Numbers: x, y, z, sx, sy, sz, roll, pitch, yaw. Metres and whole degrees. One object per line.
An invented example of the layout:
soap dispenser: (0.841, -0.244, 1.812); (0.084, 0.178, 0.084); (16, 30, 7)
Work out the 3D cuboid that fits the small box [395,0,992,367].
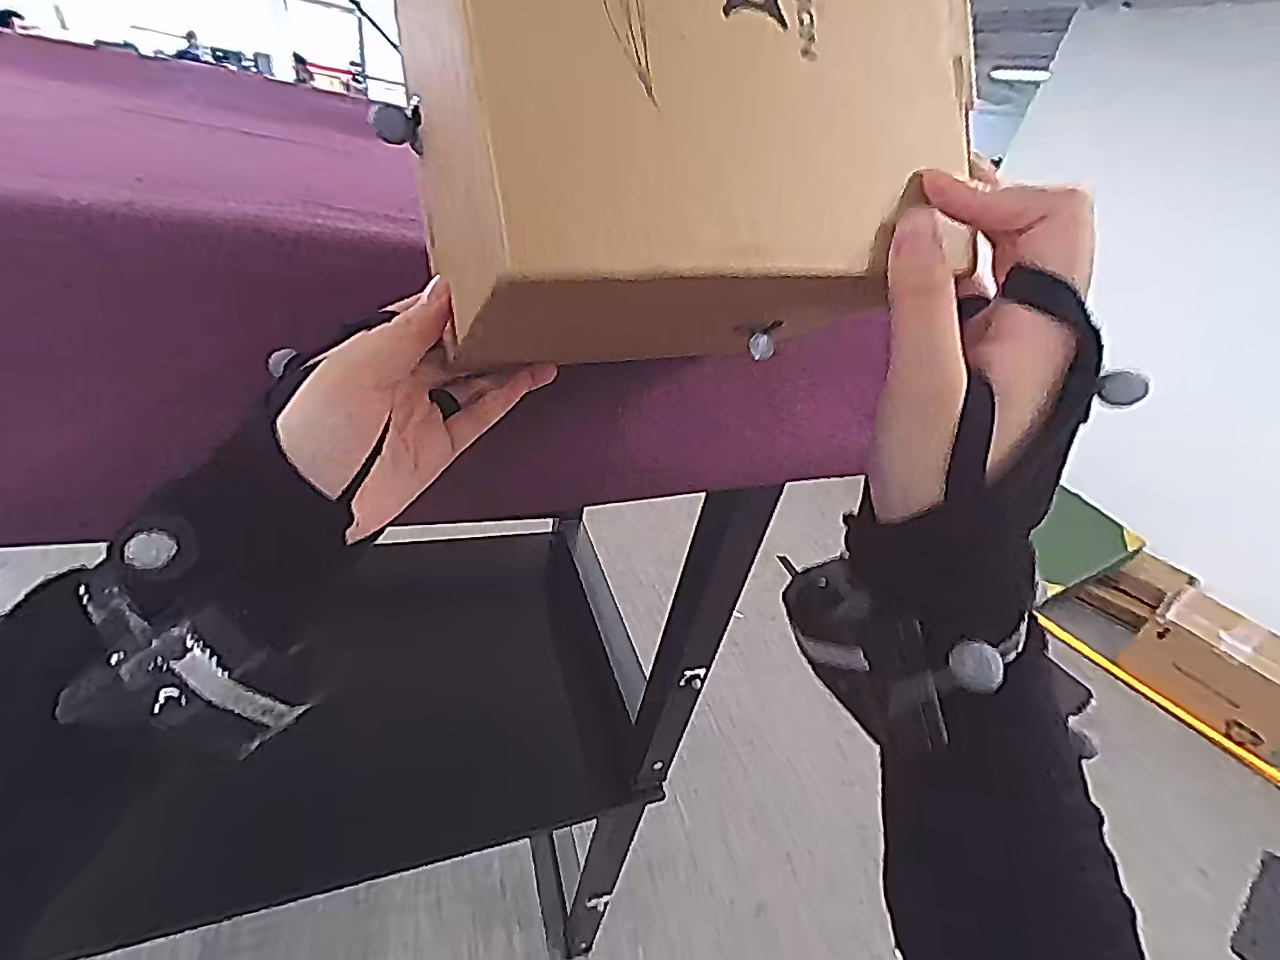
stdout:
small box: (0.006, -0.141, 0.221); (0.179, 0.168, 0.176); (-9, 7, -24)
